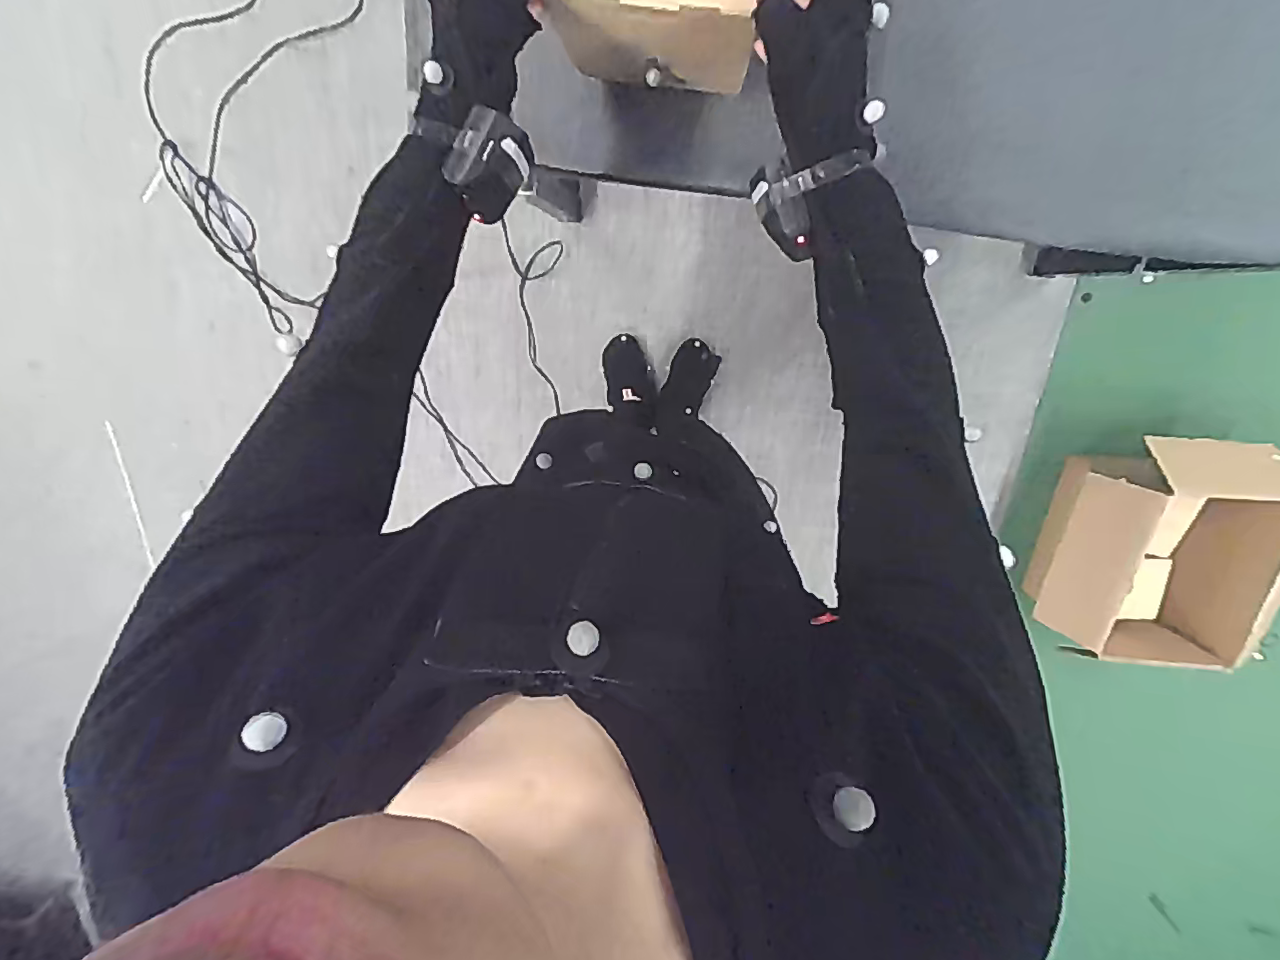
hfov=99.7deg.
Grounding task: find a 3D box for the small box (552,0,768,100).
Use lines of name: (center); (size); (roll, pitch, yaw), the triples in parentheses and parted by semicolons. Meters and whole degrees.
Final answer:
small box: (0.025, -0.449, 0.445); (0.168, 0.176, 0.179); (8, 110, 2)
